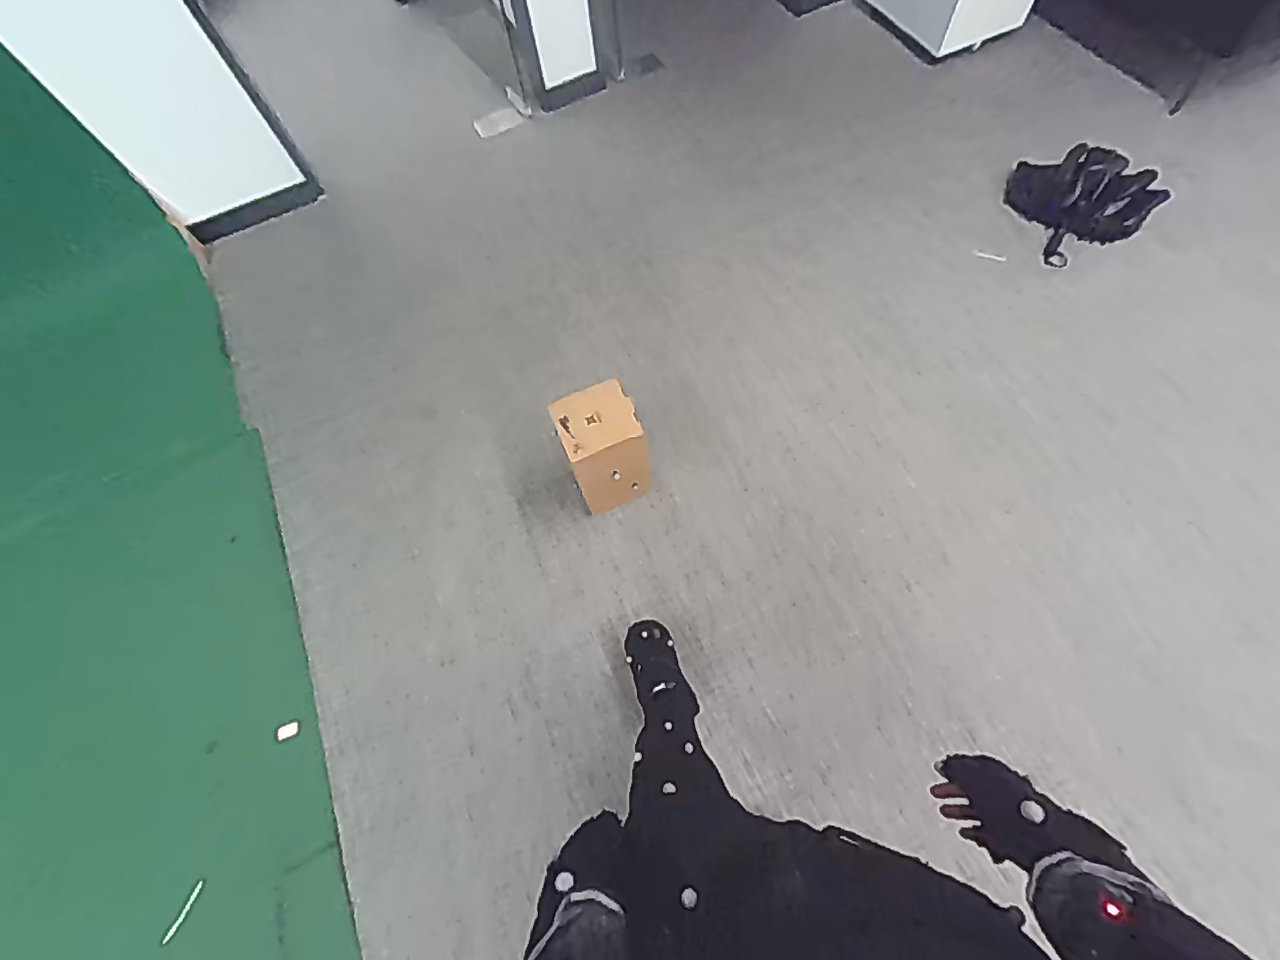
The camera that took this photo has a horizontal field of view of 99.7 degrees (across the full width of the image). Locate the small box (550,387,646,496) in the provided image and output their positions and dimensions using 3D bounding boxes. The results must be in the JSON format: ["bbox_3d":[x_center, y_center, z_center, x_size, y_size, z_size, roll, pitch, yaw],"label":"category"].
[{"bbox_3d":[-0.094,-0.087,1.288,0.179,0.176,0.168,-23,65,-6],"label":"small box"}]

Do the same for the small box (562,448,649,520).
[{"bbox_3d":[-0.085,-0.018,1.436,0.179,0.176,0.168,-26,65,-5],"label":"small box"}]
